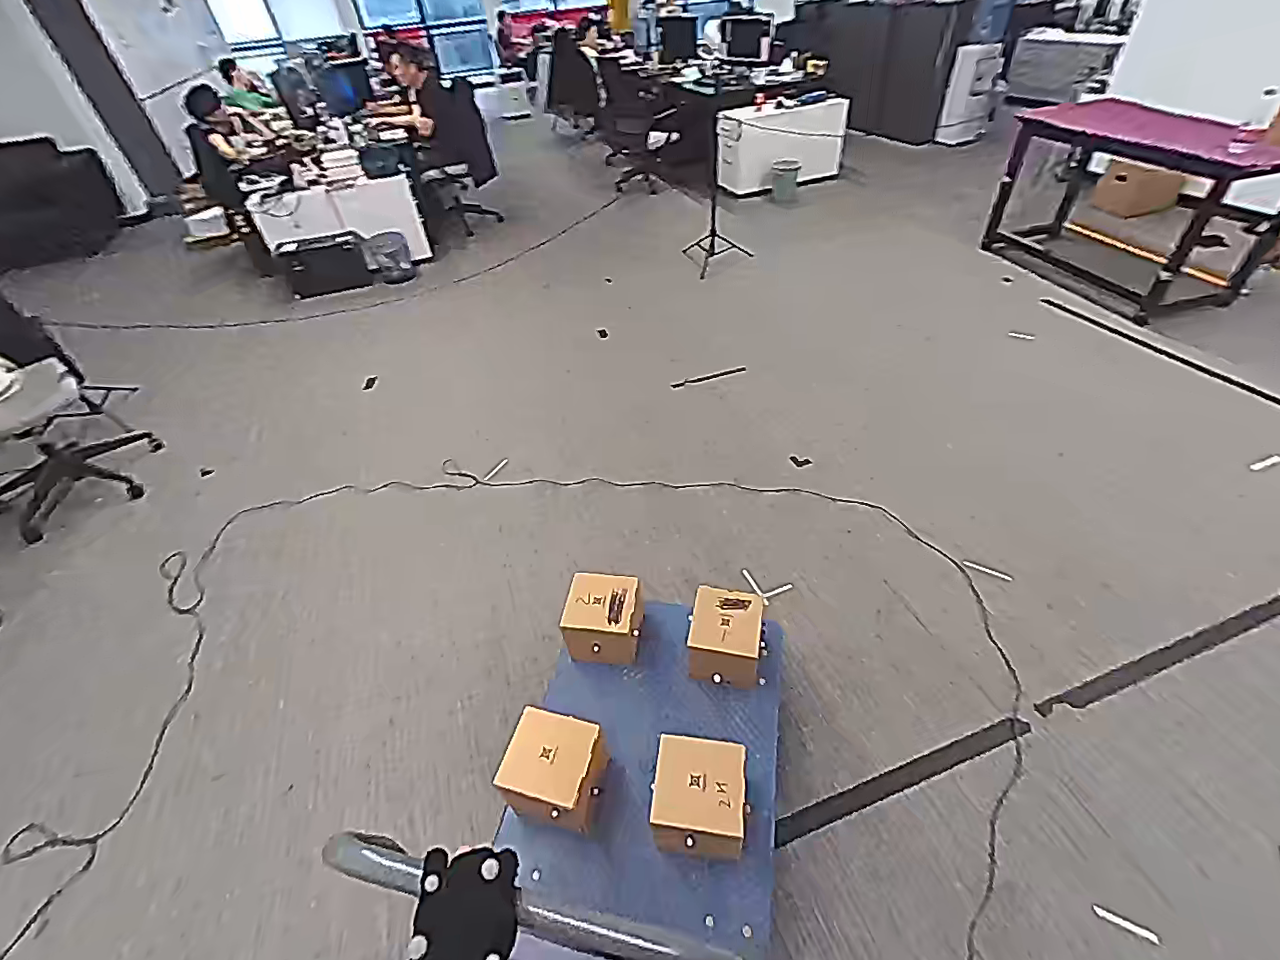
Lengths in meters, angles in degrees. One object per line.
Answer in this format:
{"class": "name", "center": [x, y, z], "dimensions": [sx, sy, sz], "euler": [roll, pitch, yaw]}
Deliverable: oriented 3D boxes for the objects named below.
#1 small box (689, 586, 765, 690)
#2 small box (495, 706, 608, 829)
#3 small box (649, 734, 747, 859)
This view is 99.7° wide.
{"class": "small box", "center": [0.217, 0.397, 1.358], "dimensions": [0.168, 0.176, 0.179], "euler": [7, 45, 13]}
{"class": "small box", "center": [-0.180, 0.620, 1.161], "dimensions": [0.179, 0.176, 0.168], "euler": [9, 44, 13]}
{"class": "small box", "center": [0.122, 0.645, 1.100], "dimensions": [0.179, 0.176, 0.168], "euler": [4, 44, 10]}
